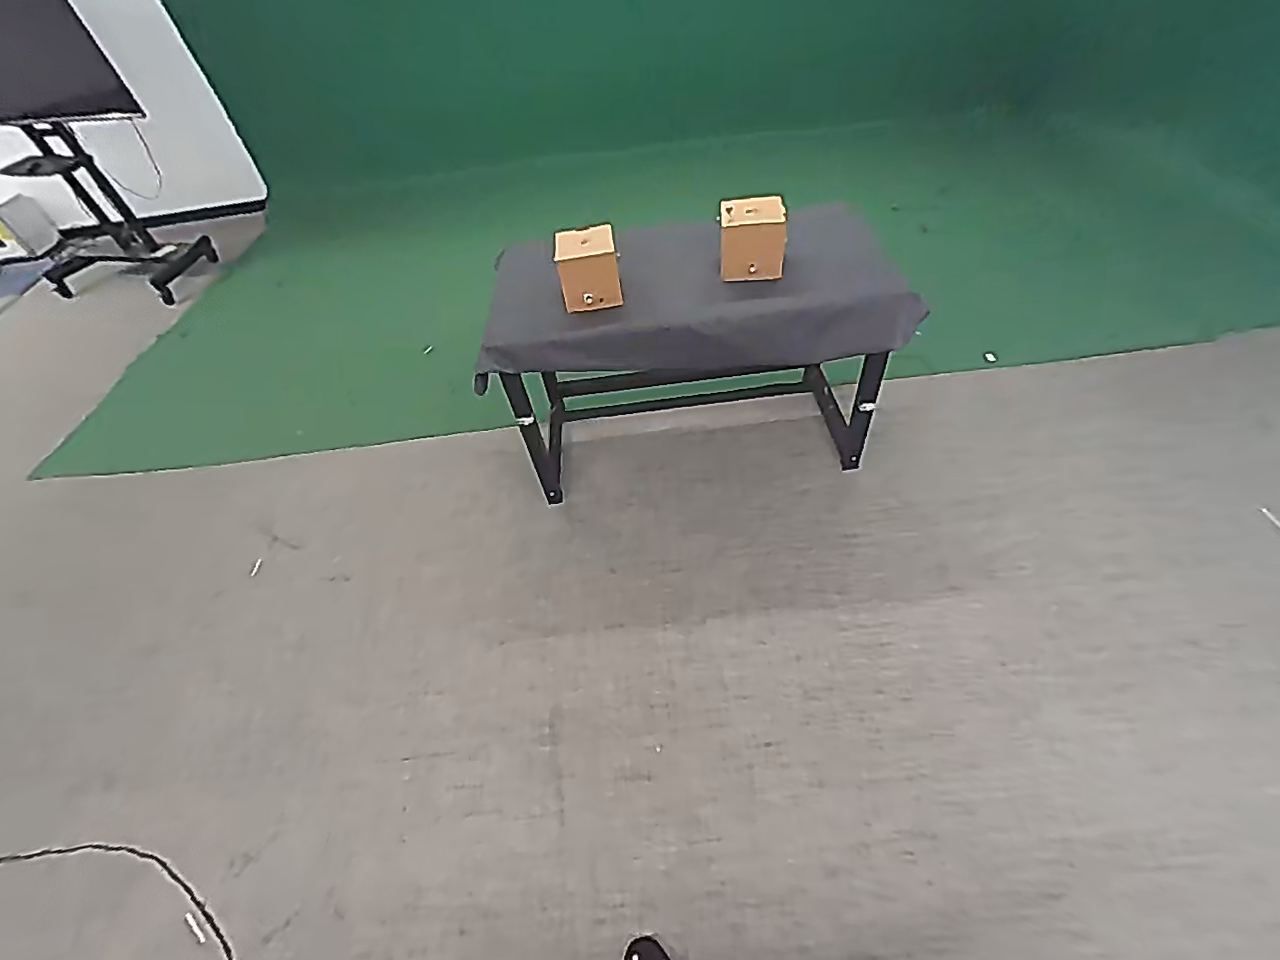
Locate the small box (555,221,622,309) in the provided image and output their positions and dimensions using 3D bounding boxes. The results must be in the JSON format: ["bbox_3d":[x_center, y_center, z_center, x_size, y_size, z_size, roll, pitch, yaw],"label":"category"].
[{"bbox_3d":[-0.146,-0.624,1.572,0.168,0.176,0.179,-8,48,3],"label":"small box"}]

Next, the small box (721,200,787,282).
[{"bbox_3d":[0.331,-0.701,1.594,0.179,0.176,0.168,0,49,8],"label":"small box"}]
